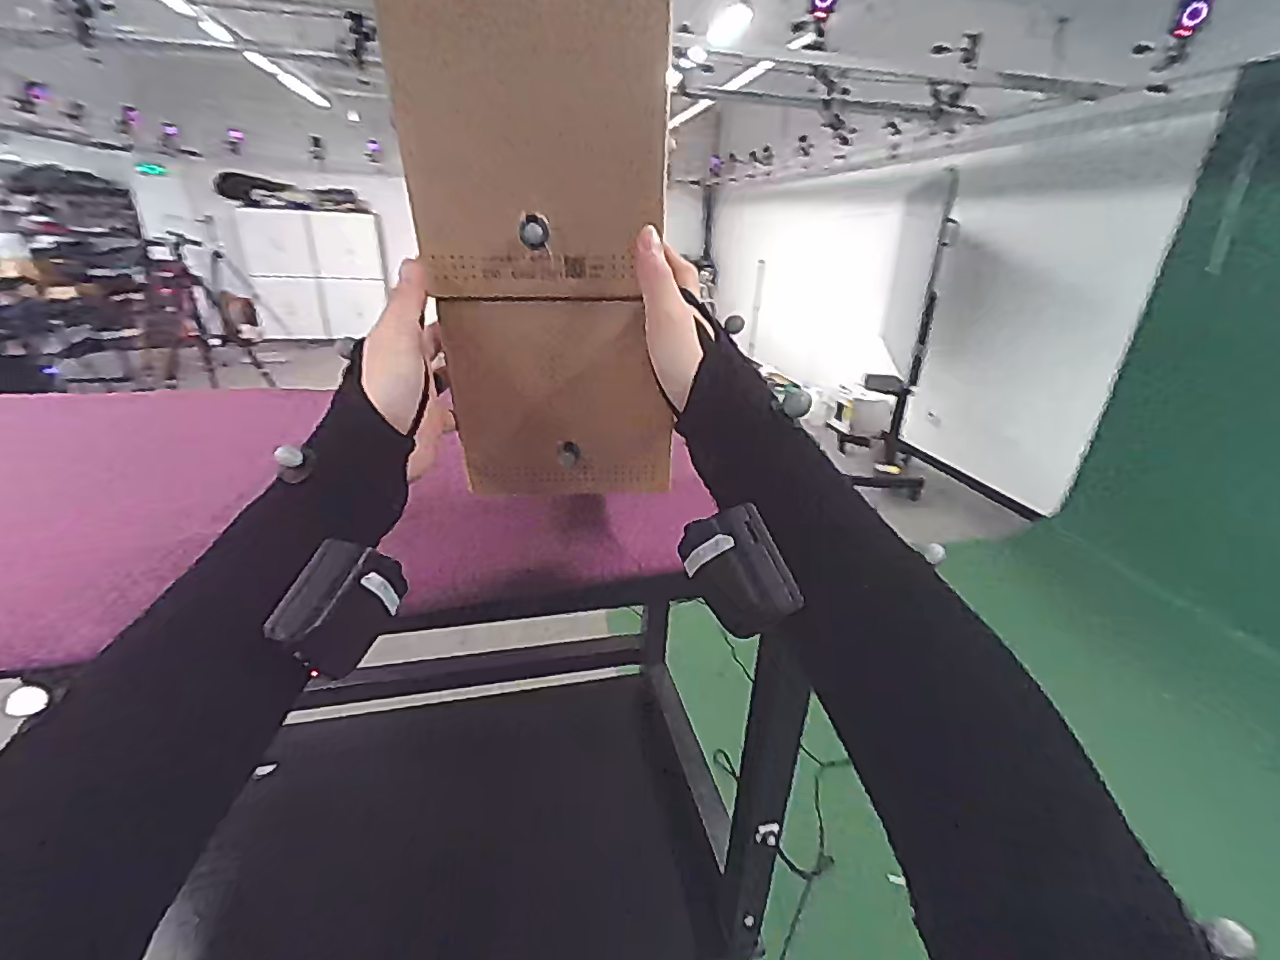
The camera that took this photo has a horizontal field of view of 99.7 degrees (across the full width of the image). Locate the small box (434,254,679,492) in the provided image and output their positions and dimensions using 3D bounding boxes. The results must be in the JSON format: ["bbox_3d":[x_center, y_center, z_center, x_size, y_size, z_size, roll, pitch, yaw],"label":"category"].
[{"bbox_3d":[-0.062,-0.099,0.493,0.179,0.176,0.168,-1,32,-2],"label":"small box"}]
